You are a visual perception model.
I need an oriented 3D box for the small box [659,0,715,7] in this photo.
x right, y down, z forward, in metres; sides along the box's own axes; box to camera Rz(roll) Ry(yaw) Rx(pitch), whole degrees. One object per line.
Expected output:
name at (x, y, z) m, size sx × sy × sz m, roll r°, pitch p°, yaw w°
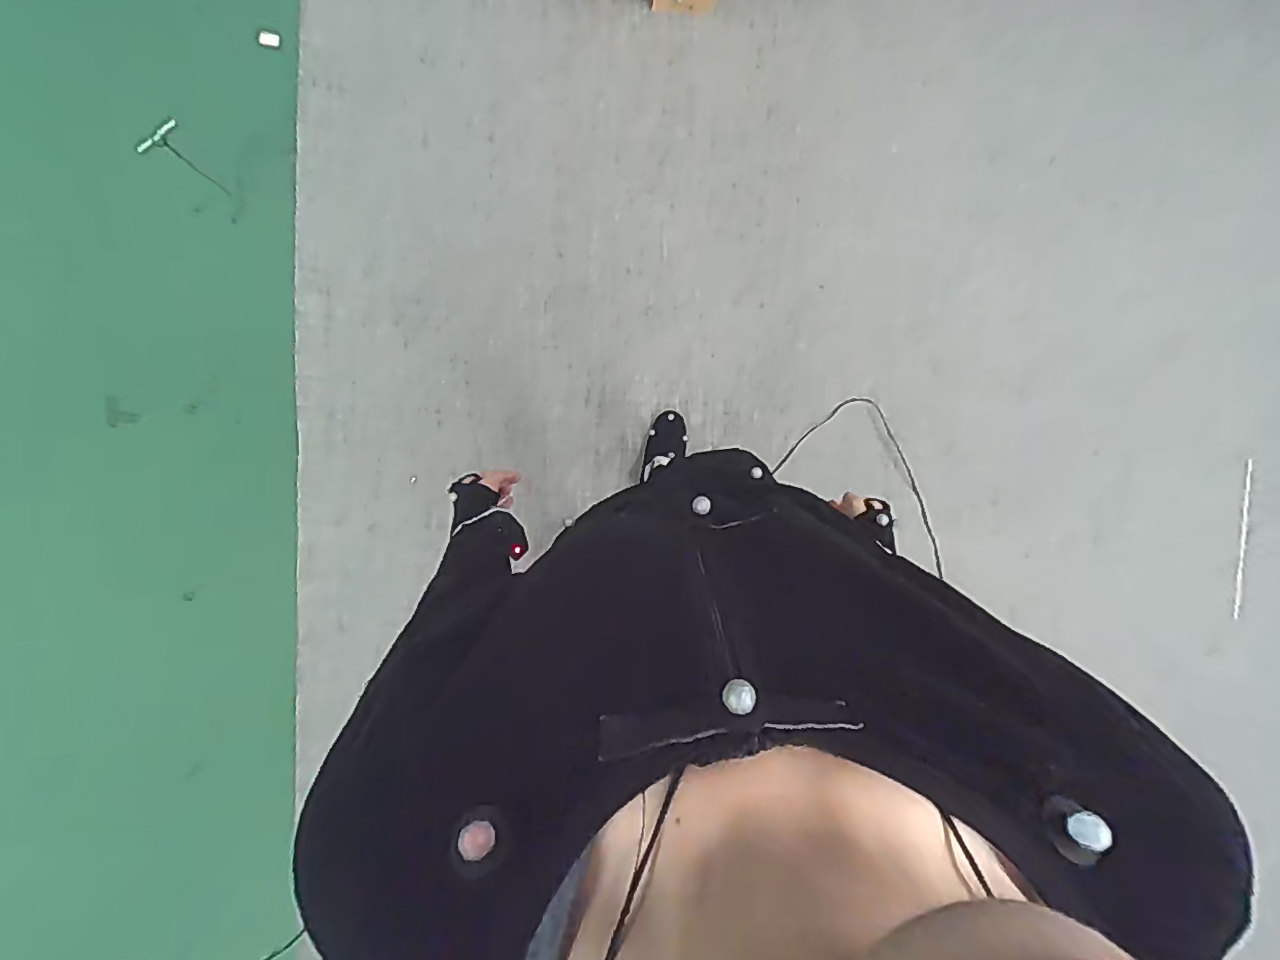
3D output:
small box at (0.124, -1.337, 1.342) m, size 0.168 × 0.176 × 0.179 m, roll 2°, pitch 95°, yaw -3°
